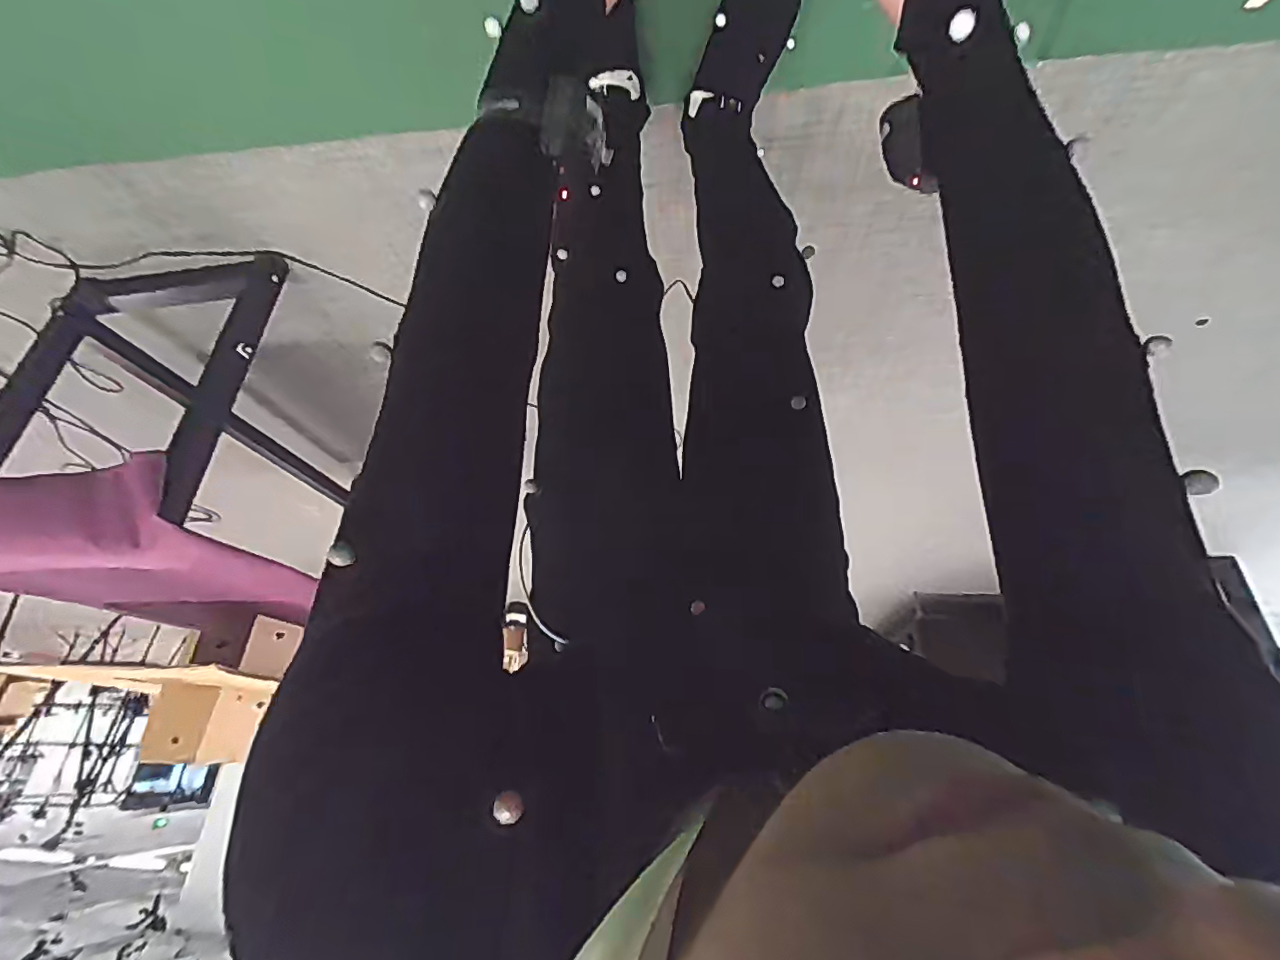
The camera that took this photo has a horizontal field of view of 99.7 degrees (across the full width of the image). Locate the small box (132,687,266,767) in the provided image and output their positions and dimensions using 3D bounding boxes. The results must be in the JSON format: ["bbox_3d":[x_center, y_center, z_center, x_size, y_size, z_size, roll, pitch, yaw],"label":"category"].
[{"bbox_3d":[-1.064,0.607,1.328,0.179,0.176,0.168,-3,151,11],"label":"small box"}]
